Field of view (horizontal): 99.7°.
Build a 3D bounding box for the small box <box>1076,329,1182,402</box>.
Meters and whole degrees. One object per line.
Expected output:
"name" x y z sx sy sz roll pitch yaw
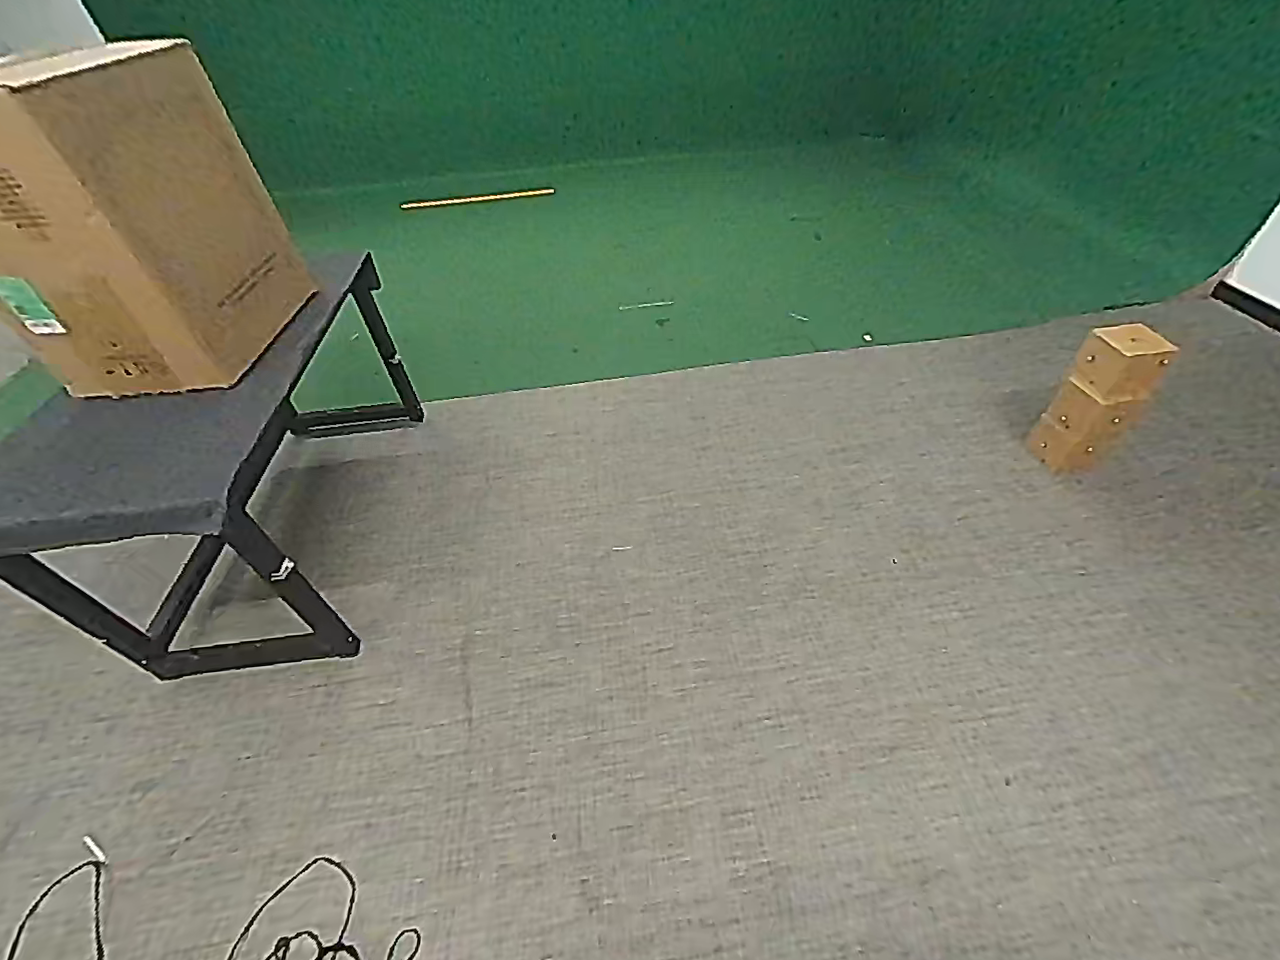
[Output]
"small box" 1.585 -0.372 1.772 0.179 0.176 0.168 -7 45 -2
